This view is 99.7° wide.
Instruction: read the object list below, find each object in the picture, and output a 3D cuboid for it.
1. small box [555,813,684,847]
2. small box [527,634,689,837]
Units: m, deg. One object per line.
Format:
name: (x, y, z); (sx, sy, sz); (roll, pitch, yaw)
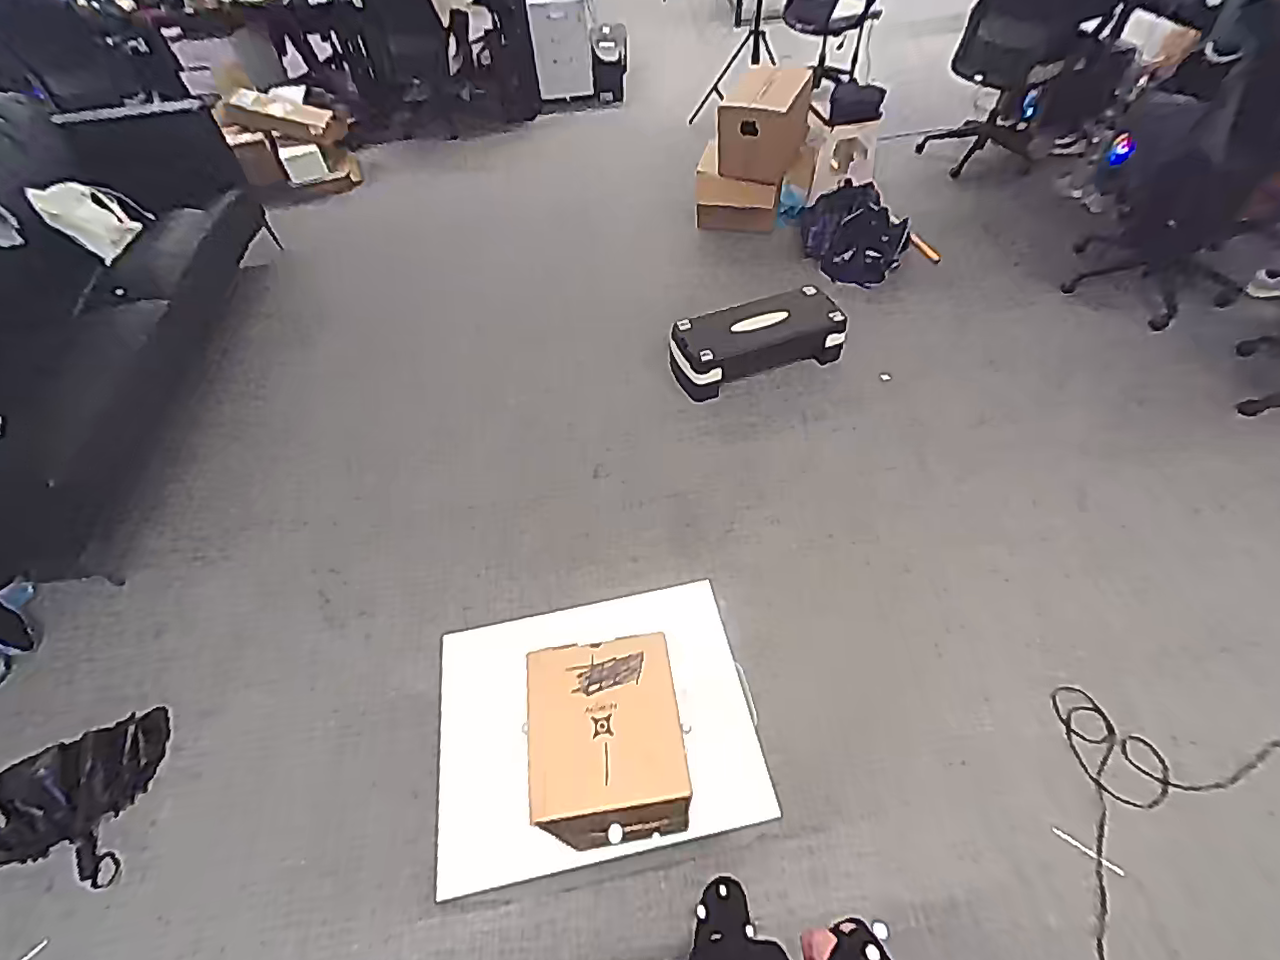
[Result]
small box: (-0.032, 0.413, 0.780); (0.168, 0.176, 0.179); (-8, 51, -4)
small box: (-0.038, 0.310, 0.652); (0.168, 0.176, 0.179); (-7, 52, -2)
